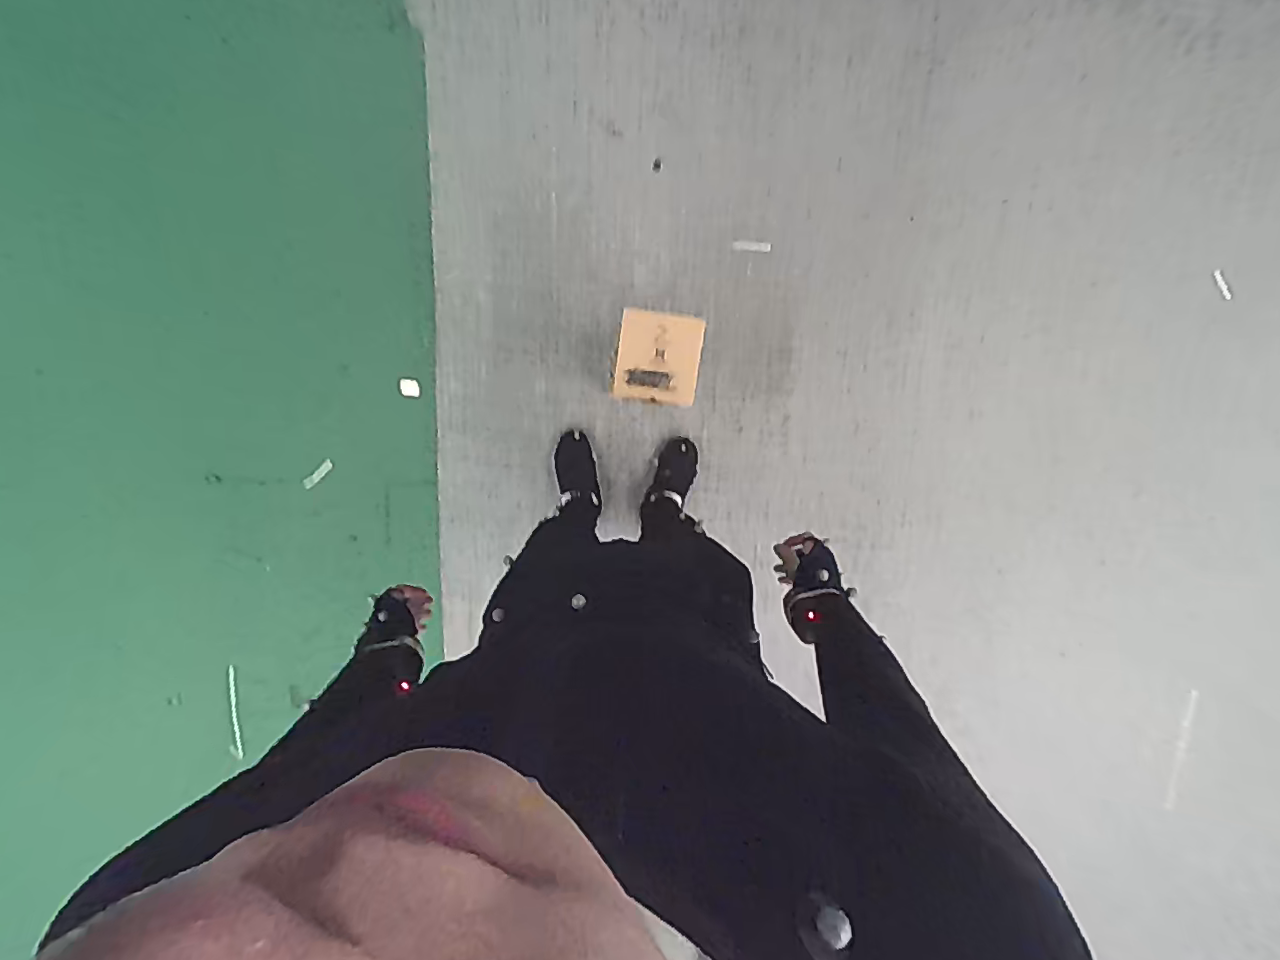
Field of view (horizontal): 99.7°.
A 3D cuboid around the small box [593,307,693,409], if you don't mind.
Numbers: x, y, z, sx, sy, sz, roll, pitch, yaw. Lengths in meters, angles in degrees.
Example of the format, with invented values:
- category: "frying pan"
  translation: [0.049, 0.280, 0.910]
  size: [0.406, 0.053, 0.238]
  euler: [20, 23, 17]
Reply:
- category: "small box"
  translation: [0.004, -0.290, 1.314]
  size: [0.179, 0.176, 0.168]
  euler: [38, 98, -9]

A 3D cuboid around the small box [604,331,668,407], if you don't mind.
- category: "small box"
  translation: [-0.006, -0.298, 1.469]
  size: [0.168, 0.176, 0.179]
  euler: [6, 99, -5]
